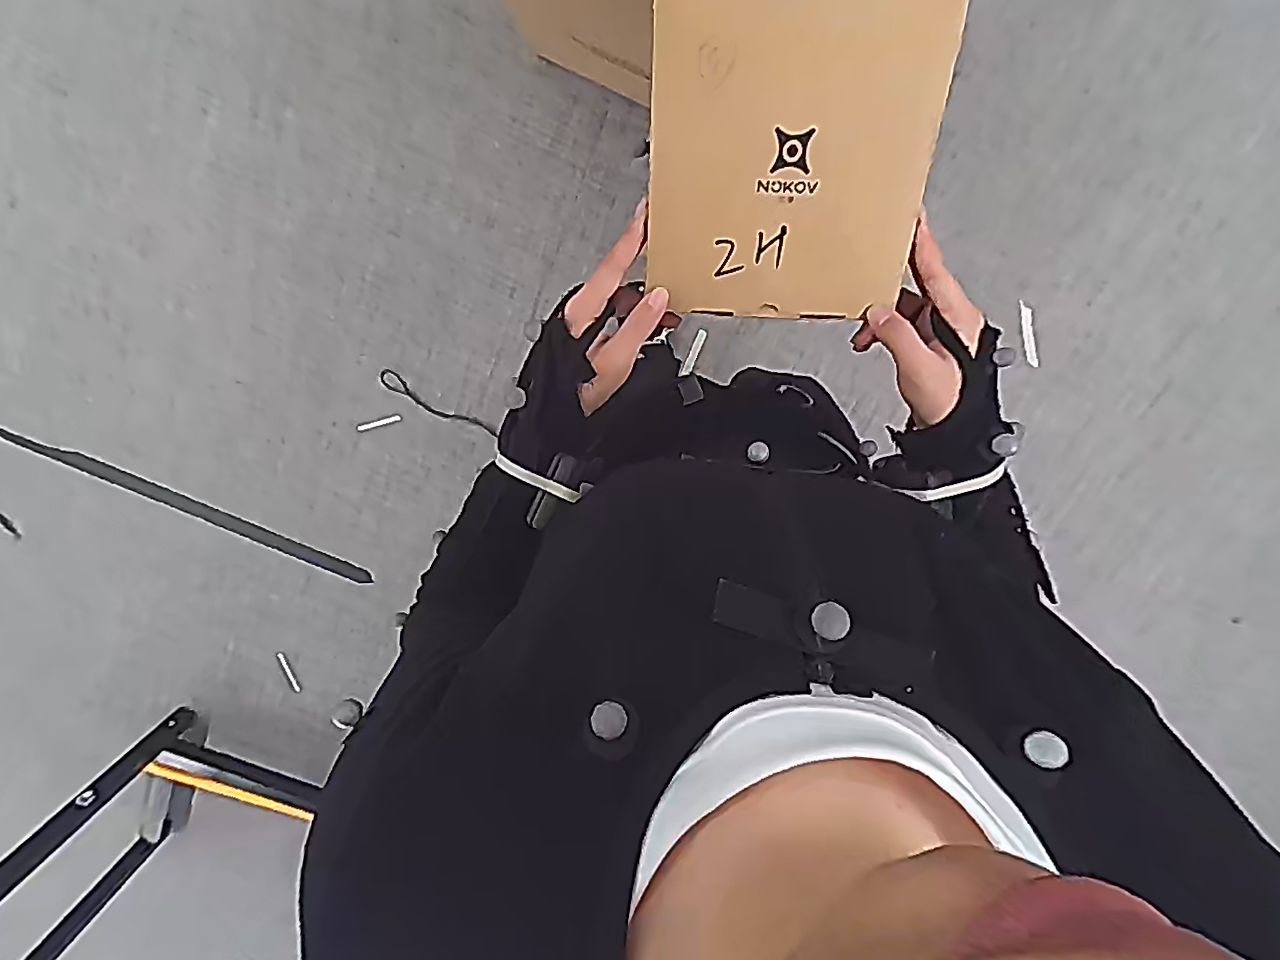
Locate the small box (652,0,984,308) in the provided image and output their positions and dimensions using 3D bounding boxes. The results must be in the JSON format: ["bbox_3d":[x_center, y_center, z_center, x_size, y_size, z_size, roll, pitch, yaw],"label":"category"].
[{"bbox_3d":[0.096,-0.229,0.380,0.168,0.176,0.179,4,118,2],"label":"small box"}]
